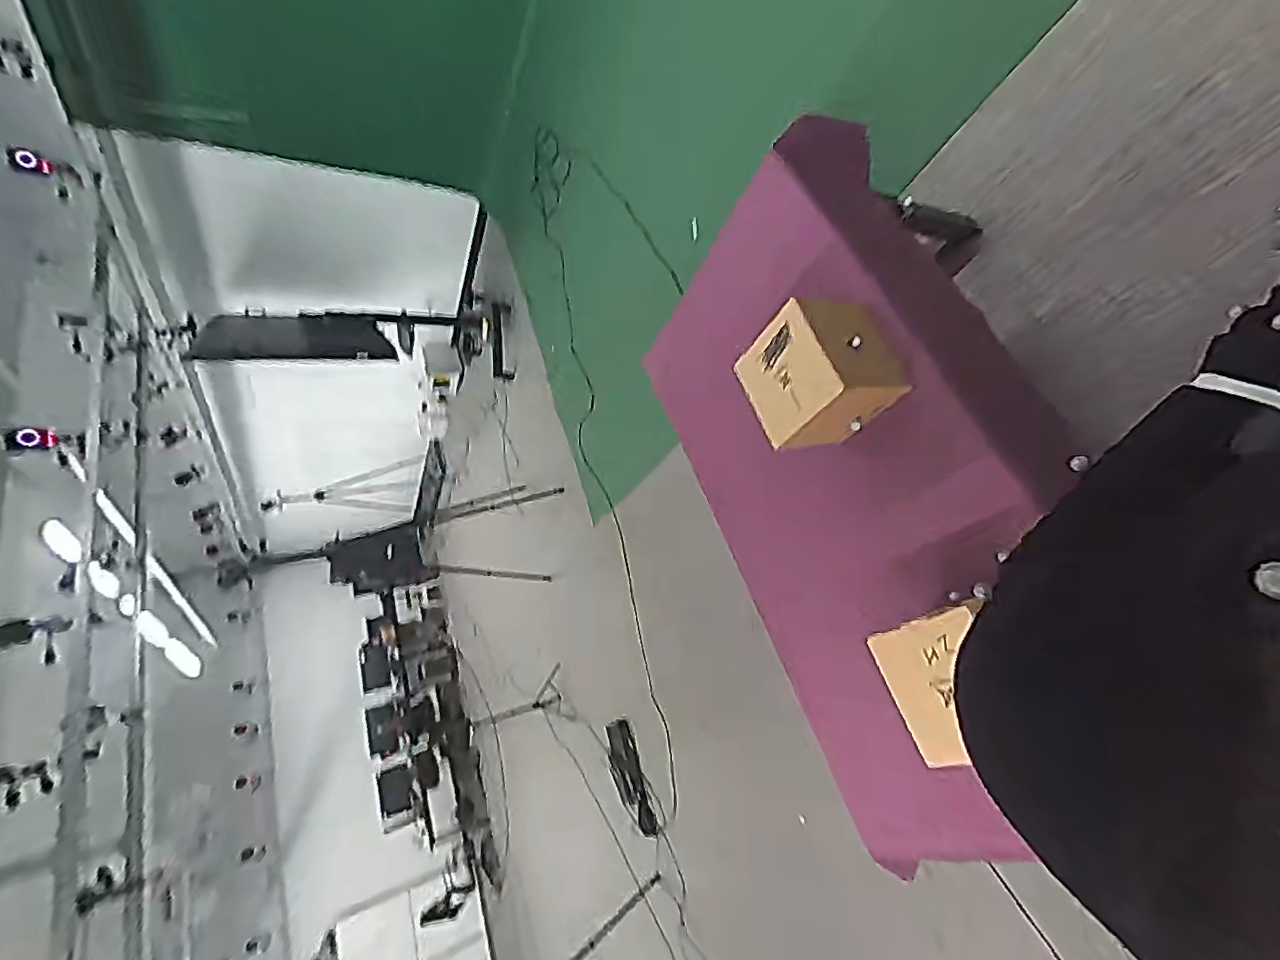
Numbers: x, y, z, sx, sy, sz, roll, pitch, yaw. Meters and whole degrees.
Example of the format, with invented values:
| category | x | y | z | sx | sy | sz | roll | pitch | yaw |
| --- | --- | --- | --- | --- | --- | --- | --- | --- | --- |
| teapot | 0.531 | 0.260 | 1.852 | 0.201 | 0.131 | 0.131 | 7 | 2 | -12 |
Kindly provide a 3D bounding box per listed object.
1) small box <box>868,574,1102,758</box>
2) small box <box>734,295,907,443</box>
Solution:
| category | x | y | z | sx | sy | sz | roll | pitch | yaw |
| --- | --- | --- | --- | --- | --- | --- | --- | --- | --- |
| small box | 0.455 | 0.245 | 0.721 | 0.168 | 0.176 | 0.179 | -48 | 56 | 51 |
| small box | 0.294 | -0.179 | 0.896 | 0.168 | 0.176 | 0.179 | -50 | 56 | 51 |
